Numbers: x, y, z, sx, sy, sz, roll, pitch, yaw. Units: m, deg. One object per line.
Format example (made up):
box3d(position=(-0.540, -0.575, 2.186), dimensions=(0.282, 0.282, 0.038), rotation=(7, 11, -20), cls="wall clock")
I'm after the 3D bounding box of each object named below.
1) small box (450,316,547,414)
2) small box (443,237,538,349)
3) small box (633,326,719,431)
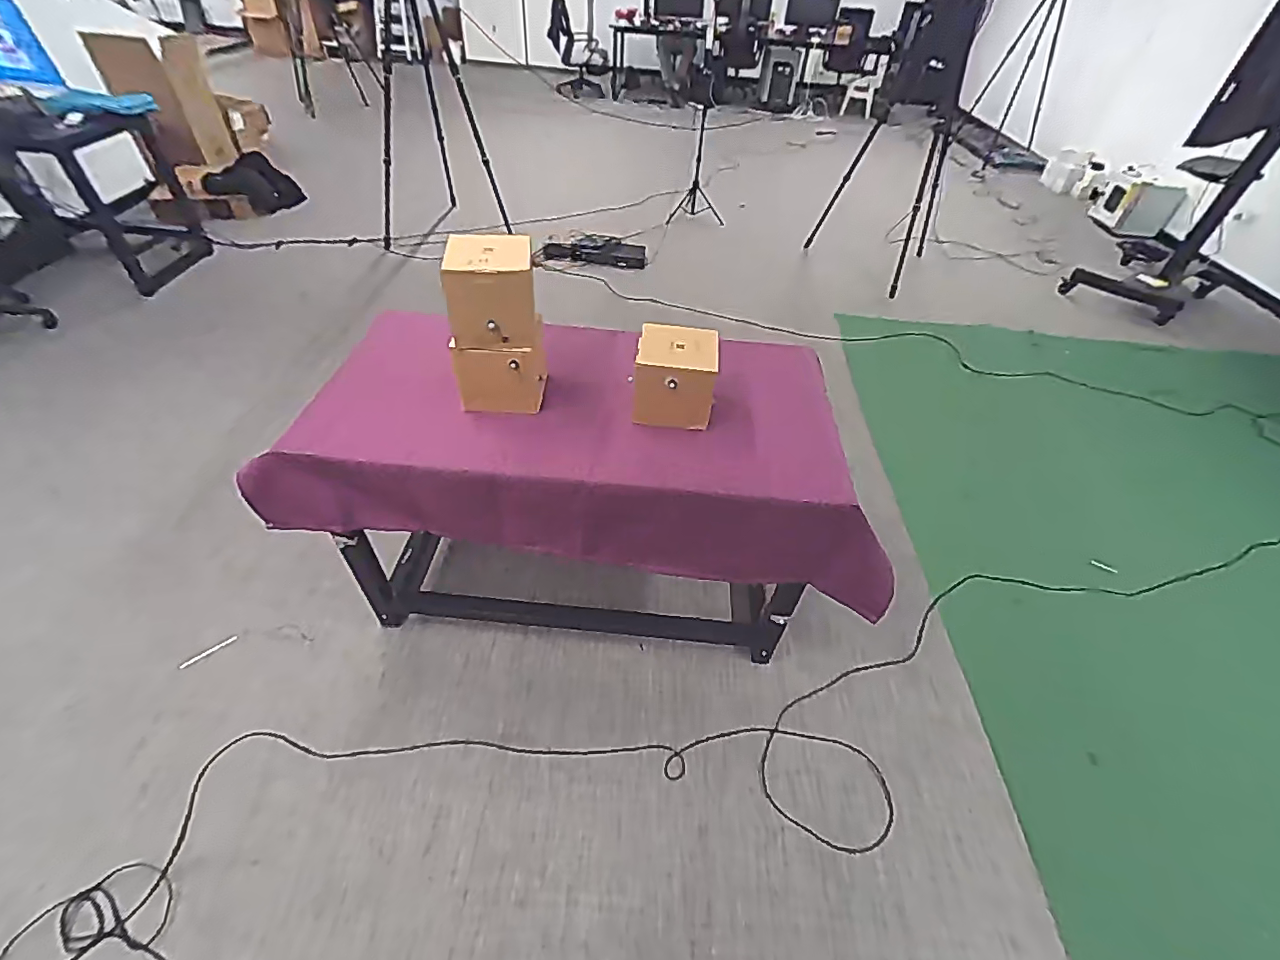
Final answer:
box3d(position=(-0.315, -0.267, 1.242), dimensions=(0.179, 0.176, 0.168), rotation=(3, 45, -3), cls="small box")
box3d(position=(-0.305, -0.391, 1.133), dimensions=(0.168, 0.176, 0.179), rotation=(-3, 46, -8), cls="small box")
box3d(position=(0.080, -0.230, 1.235), dimensions=(0.179, 0.176, 0.168), rotation=(7, 46, 2), cls="small box")
